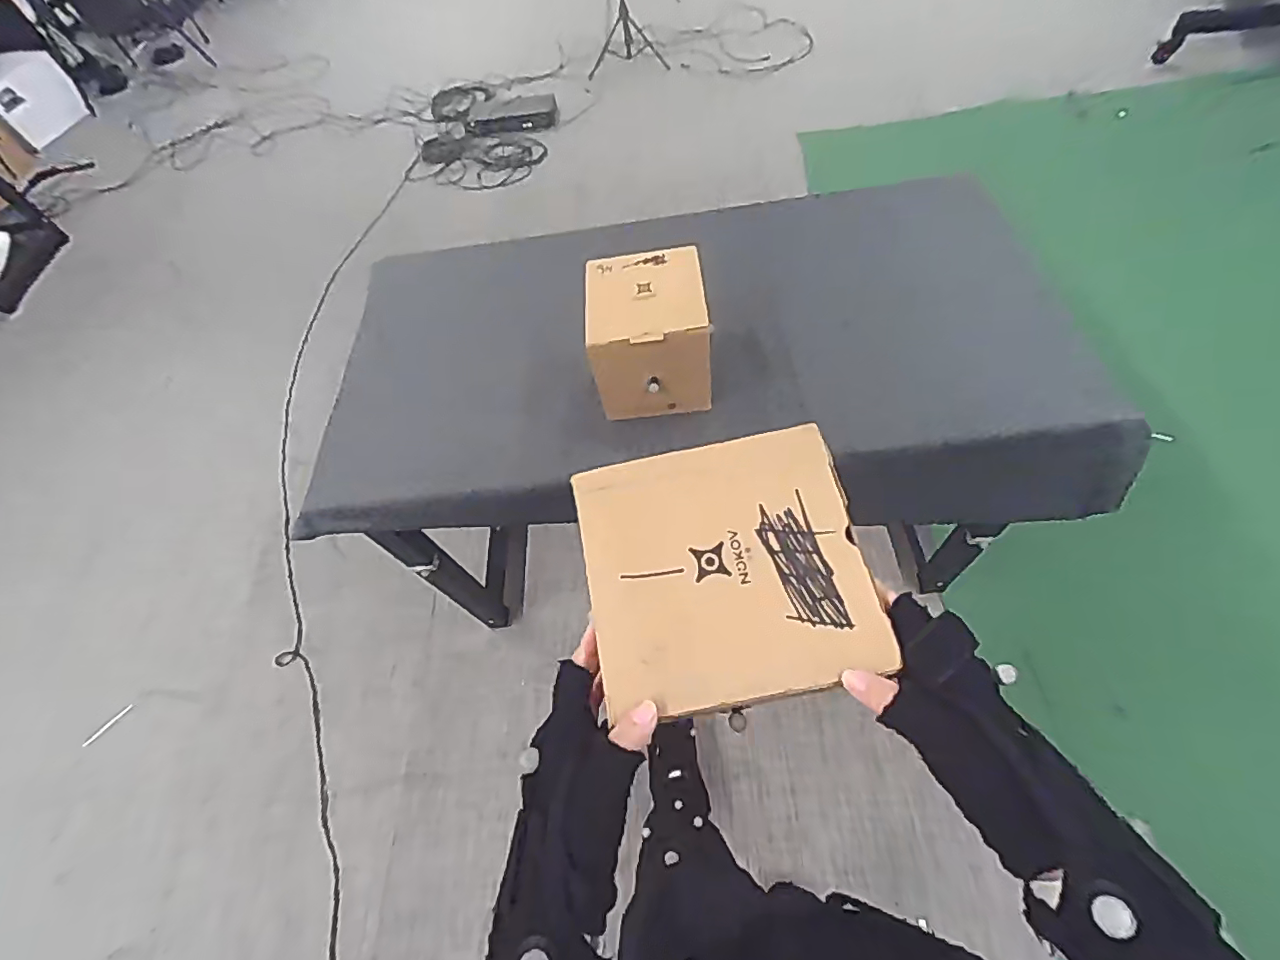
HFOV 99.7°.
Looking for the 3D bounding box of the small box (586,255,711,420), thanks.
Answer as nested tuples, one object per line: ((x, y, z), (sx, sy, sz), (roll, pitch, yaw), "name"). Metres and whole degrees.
((0.017, -0.204, 0.818), (0.168, 0.176, 0.179), (-6, 58, 5), "small box")
